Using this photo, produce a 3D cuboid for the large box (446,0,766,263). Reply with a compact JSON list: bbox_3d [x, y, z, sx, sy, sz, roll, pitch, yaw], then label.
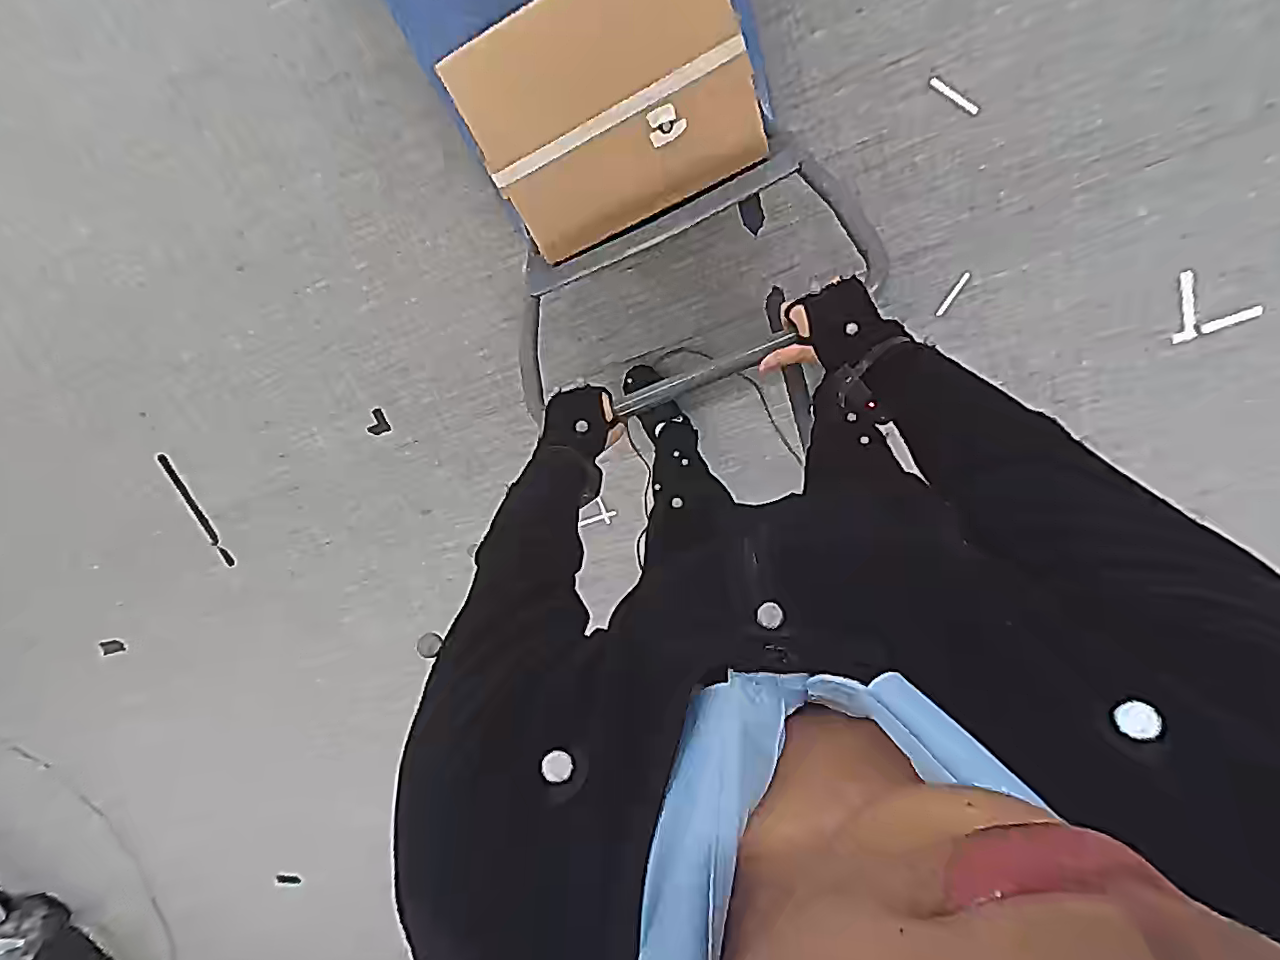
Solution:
[{"bbox_3d":[-0.053,-0.653,0.928,0.408,0.320,0.320,-23,131,13],"label":"large box"}]
